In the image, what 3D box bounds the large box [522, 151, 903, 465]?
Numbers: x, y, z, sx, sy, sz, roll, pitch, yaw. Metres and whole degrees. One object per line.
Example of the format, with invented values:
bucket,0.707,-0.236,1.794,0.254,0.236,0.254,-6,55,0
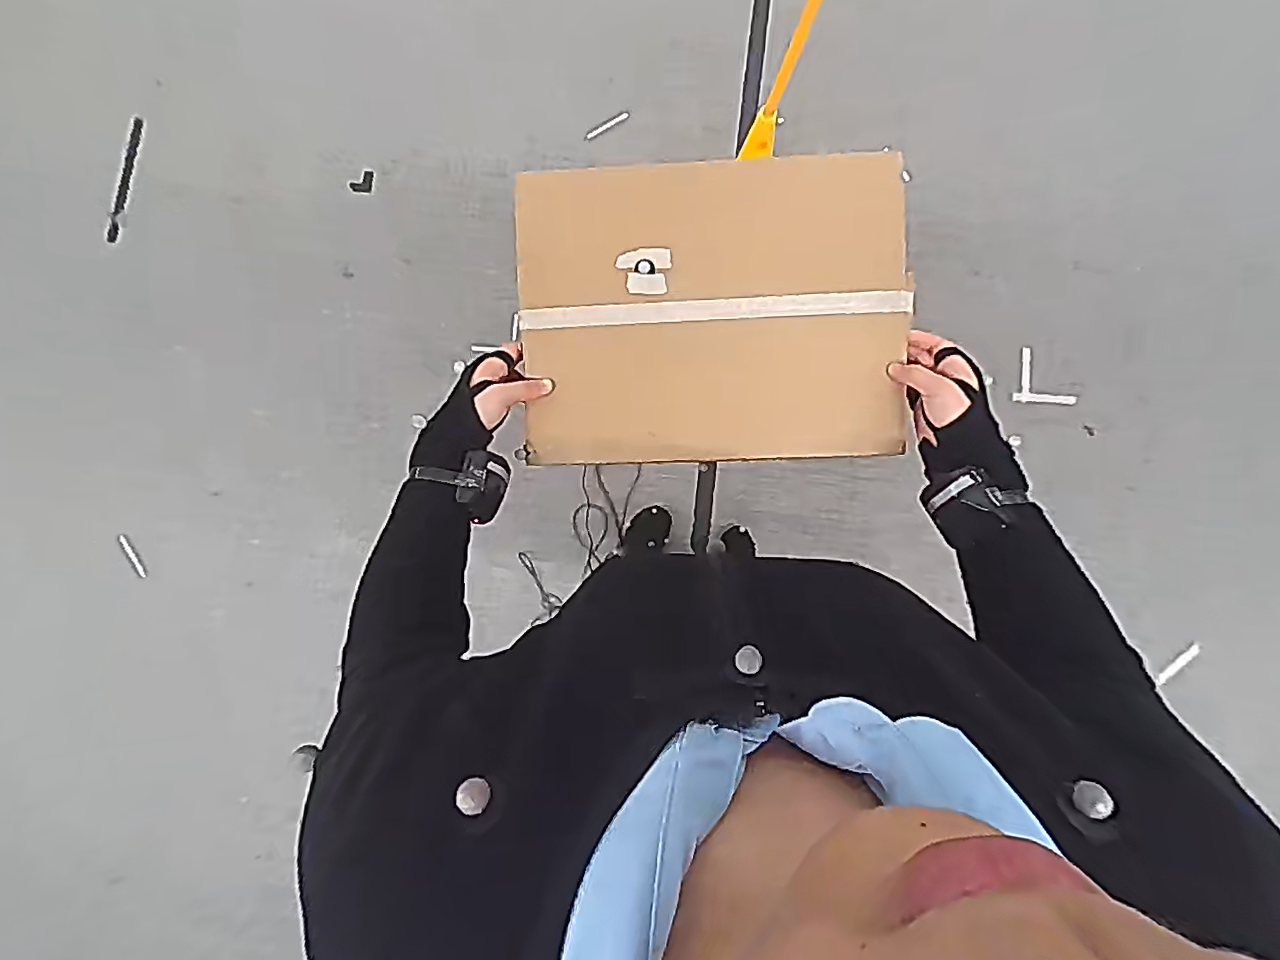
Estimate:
large box,0.088,-0.187,0.730,0.408,0.320,0.320,-2,91,4
